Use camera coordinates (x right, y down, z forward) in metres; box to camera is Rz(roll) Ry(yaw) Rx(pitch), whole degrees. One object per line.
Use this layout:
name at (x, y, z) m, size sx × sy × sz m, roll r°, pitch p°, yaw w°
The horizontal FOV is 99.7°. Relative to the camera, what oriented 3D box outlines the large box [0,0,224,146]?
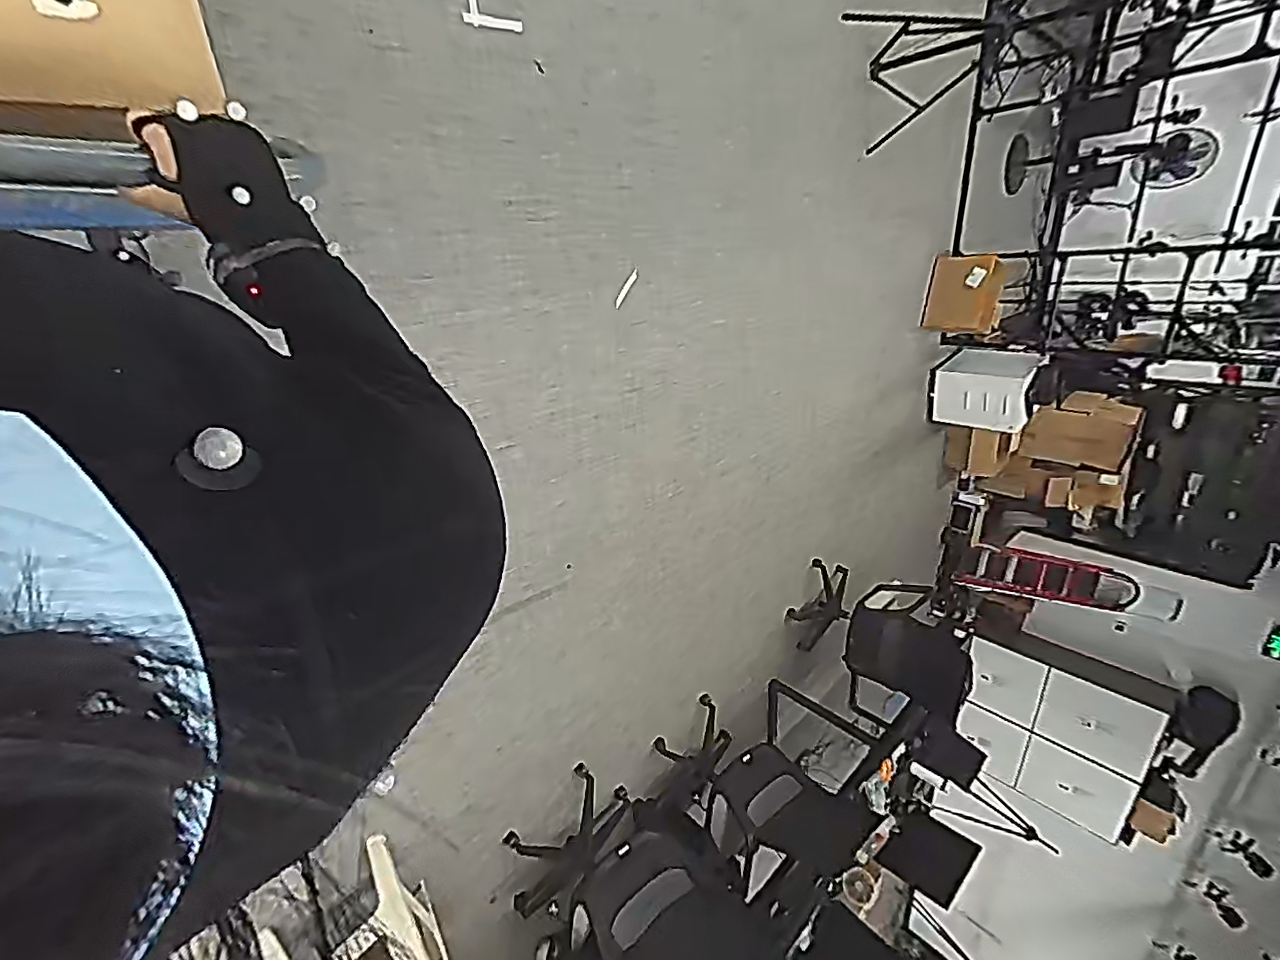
large box at (-0.846, -0.634, 0.687) m, size 0.408 × 0.320 × 0.320 m, roll -25°, pitch 121°, yaw -38°
